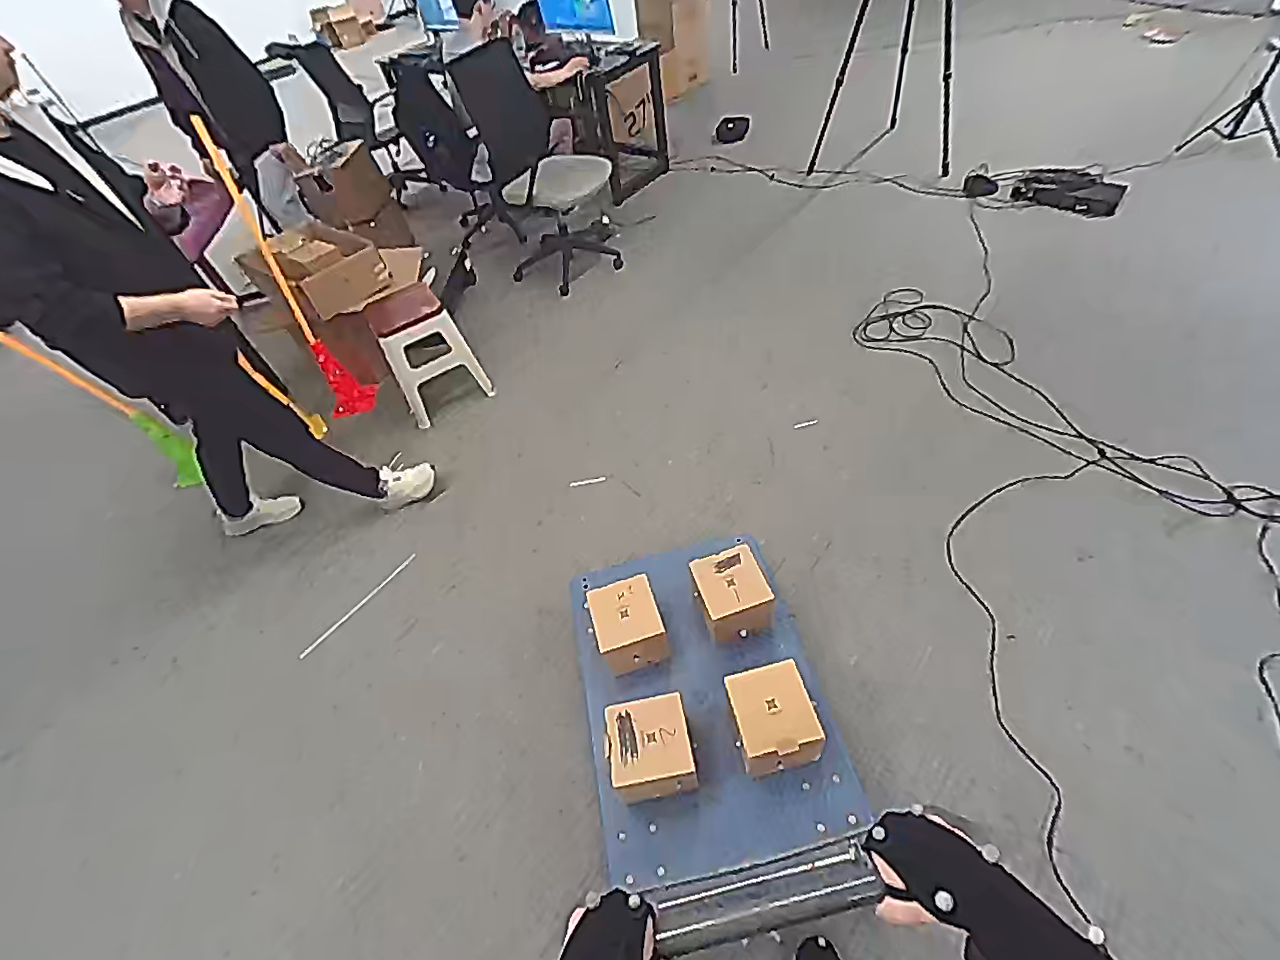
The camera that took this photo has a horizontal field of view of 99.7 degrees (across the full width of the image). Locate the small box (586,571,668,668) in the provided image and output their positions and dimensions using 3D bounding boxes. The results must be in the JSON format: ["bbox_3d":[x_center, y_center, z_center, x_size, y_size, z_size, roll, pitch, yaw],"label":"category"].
[{"bbox_3d":[-0.031,0.373,1.414,0.168,0.176,0.179,-16,50,-5],"label":"small box"}]

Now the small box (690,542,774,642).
[{"bbox_3d":[0.237,0.298,1.428,0.168,0.176,0.179,-18,51,-4],"label":"small box"}]

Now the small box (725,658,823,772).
[{"bbox_3d":[0.293,0.533,1.224,0.168,0.176,0.179,-14,50,-2],"label":"small box"}]
